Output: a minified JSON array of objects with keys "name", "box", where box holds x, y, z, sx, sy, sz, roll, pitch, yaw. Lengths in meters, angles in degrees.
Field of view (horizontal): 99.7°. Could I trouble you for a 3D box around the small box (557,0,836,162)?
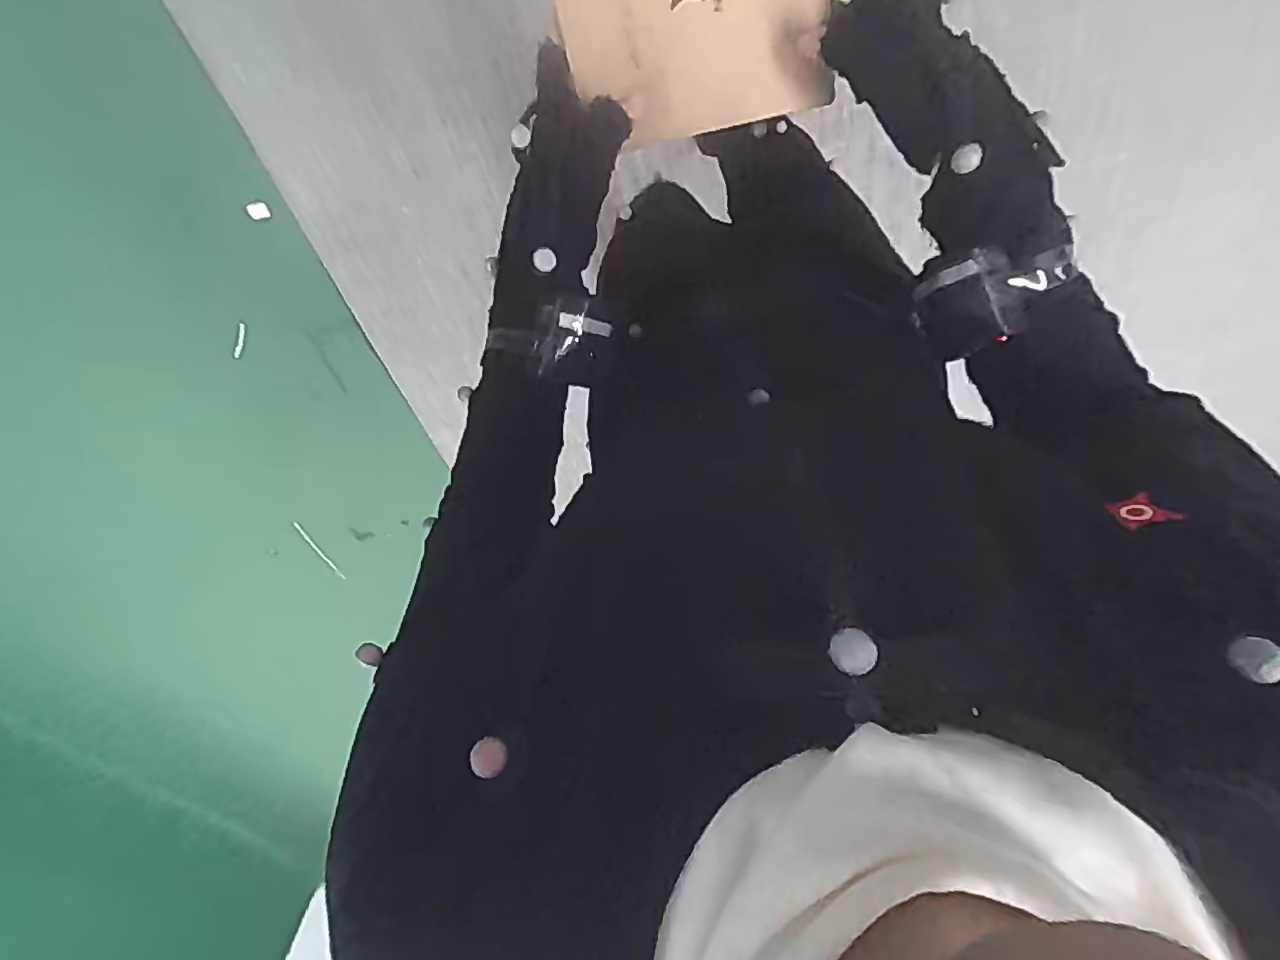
[{"name":"small box","box":[0.038,-0.360,0.408,0.179,0.176,0.168,-8,123,11]}]
